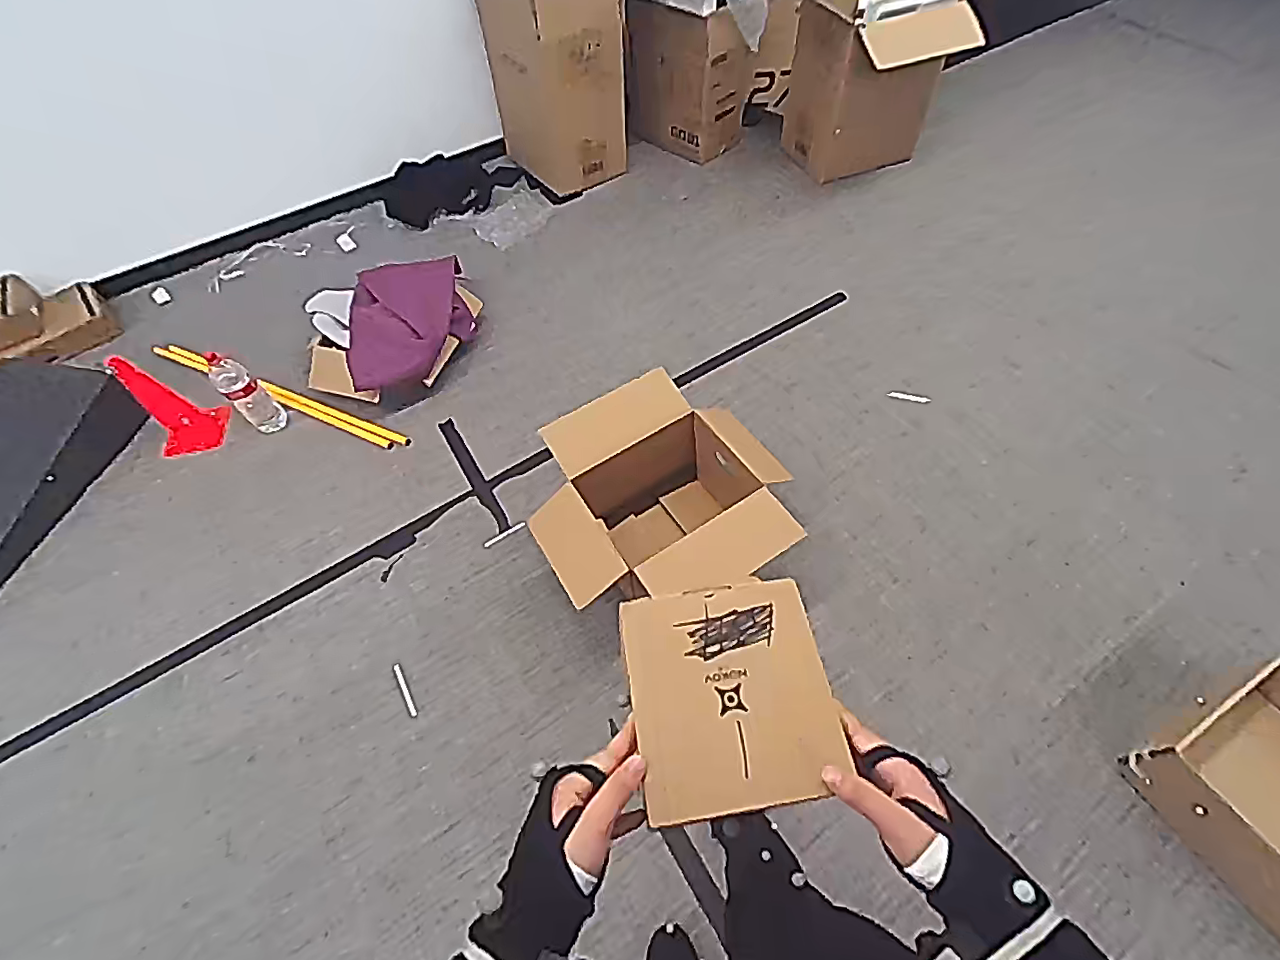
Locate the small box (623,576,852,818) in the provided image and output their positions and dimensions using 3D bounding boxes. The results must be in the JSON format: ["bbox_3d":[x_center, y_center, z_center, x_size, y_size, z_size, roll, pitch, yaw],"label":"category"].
[{"bbox_3d":[0.074,0.216,0.529,0.168,0.176,0.179,-8,58,-5],"label":"small box"}]
